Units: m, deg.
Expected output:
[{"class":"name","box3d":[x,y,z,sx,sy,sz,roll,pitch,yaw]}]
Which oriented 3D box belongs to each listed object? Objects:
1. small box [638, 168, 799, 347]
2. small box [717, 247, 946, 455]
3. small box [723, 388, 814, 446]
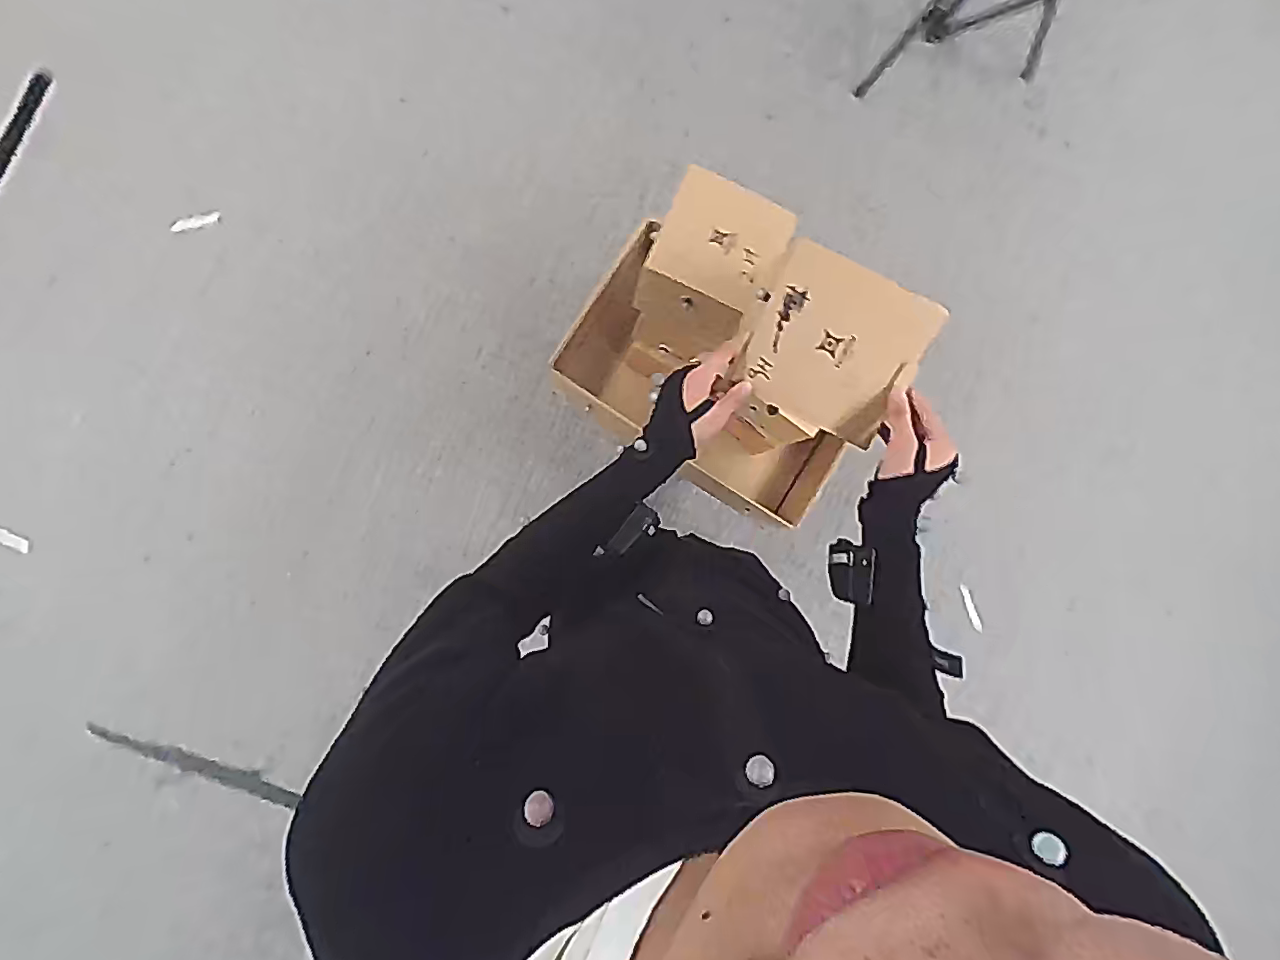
[{"class":"small box","box3d":[0.108,-0.327,0.836,0.179,0.176,0.168,25,87,-5]},{"class":"small box","box3d":[0.210,-0.155,0.649,0.179,0.176,0.168,25,105,-4]},{"class":"small box","box3d":[0.274,-0.181,1.015,0.168,0.176,0.179,36,85,-2]}]
